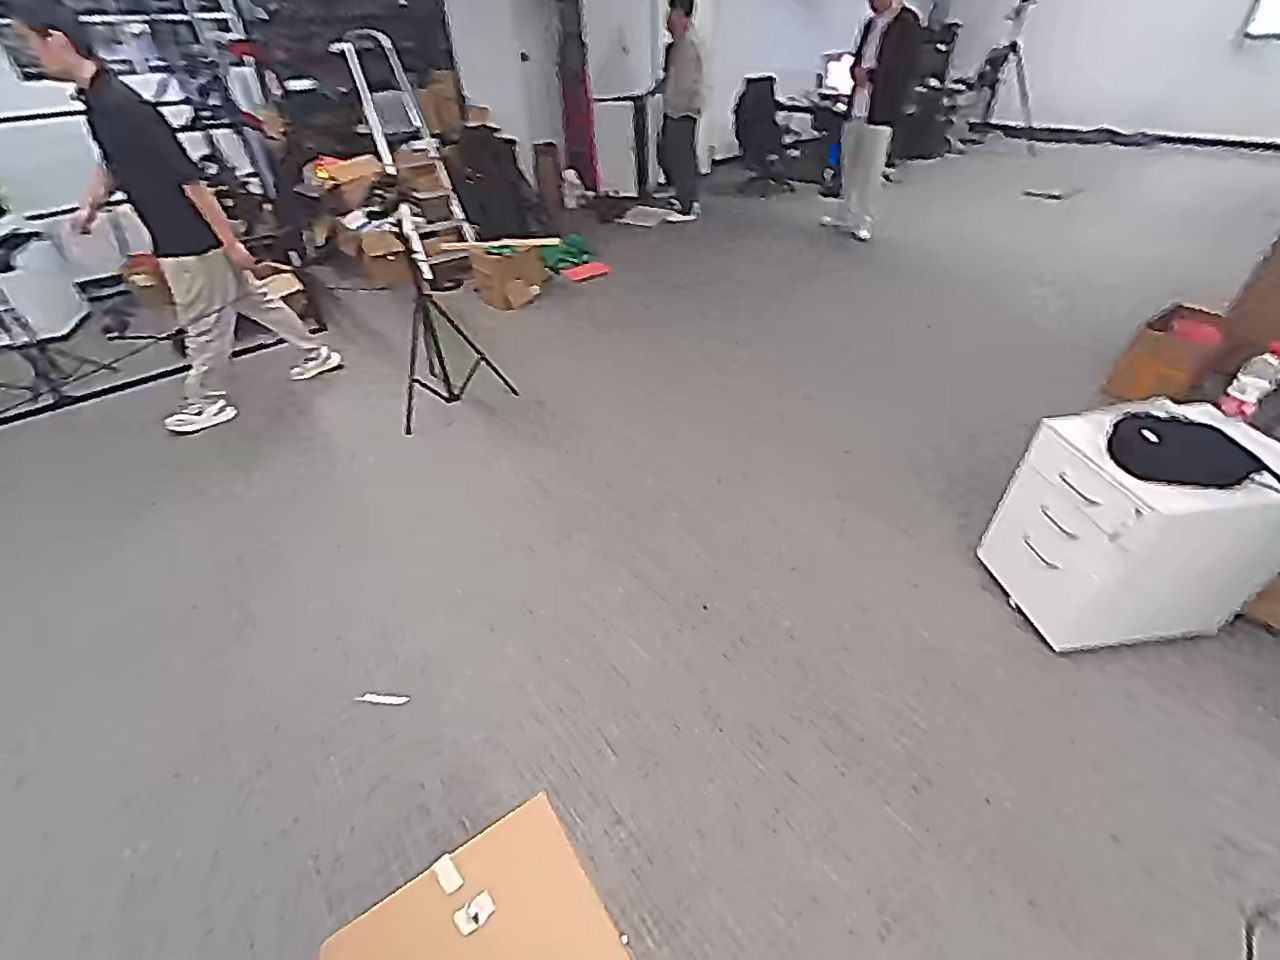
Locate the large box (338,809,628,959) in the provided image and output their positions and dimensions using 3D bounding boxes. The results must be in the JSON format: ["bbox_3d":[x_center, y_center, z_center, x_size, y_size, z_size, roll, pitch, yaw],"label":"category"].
[{"bbox_3d":[-0.148,0.745,0.710,0.320,0.408,0.320,-26,34,-24],"label":"large box"}]
